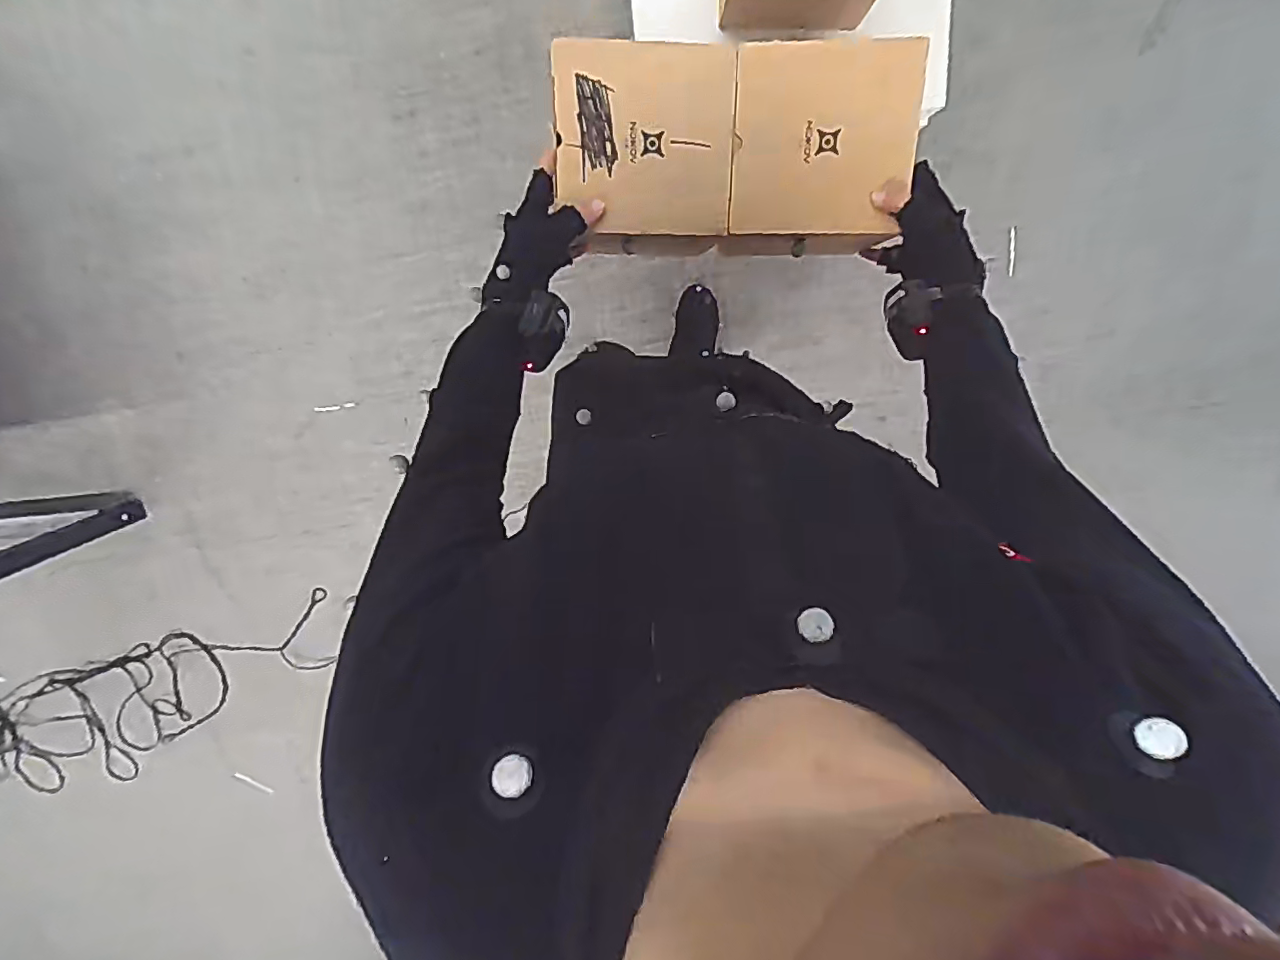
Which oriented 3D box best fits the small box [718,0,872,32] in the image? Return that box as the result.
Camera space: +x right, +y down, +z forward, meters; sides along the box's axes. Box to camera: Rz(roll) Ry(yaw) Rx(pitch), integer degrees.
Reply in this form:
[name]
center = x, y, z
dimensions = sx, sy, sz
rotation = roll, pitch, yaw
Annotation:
[small box]
center = 0.186, -0.618, 0.579
dimensions = 0.179, 0.176, 0.168
rotation = 2, 107, 1
